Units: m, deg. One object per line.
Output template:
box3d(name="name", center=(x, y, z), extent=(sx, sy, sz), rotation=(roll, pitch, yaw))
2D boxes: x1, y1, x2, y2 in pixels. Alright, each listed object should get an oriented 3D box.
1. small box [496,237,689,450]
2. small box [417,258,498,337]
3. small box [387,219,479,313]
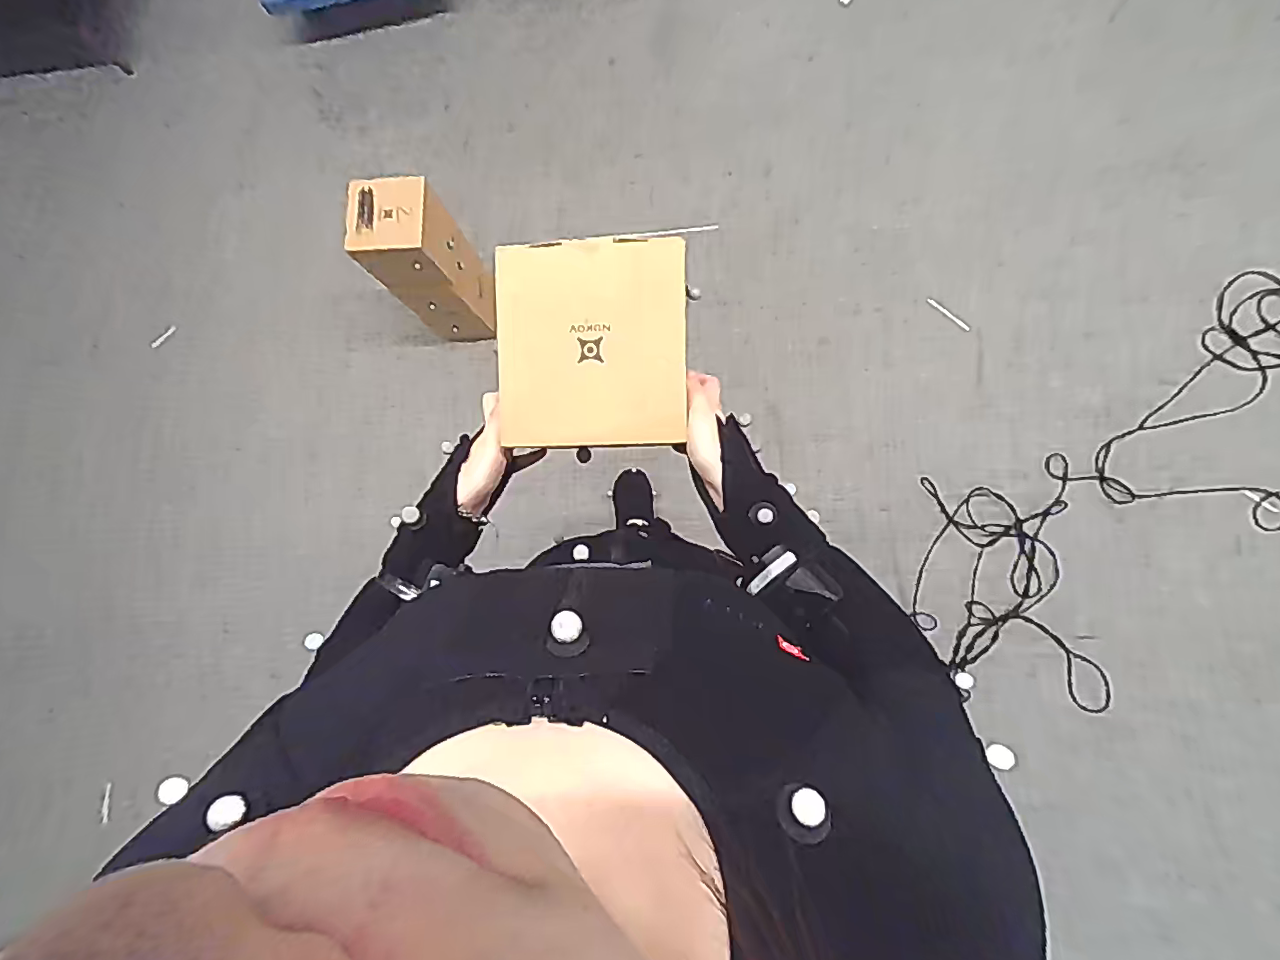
box3d(name="small box", center=(-0.034, -0.120, 0.542), extent=(0.168, 0.176, 0.179), rotation=(-1, 93, 5))
box3d(name="small box", center=(-0.516, -0.521, 1.558), extent=(0.179, 0.176, 0.168), rotation=(-1, 83, 7))
box3d(name="small box", center=(-0.527, -0.541, 1.395), extent=(0.168, 0.176, 0.179), rotation=(0, 83, 5))
